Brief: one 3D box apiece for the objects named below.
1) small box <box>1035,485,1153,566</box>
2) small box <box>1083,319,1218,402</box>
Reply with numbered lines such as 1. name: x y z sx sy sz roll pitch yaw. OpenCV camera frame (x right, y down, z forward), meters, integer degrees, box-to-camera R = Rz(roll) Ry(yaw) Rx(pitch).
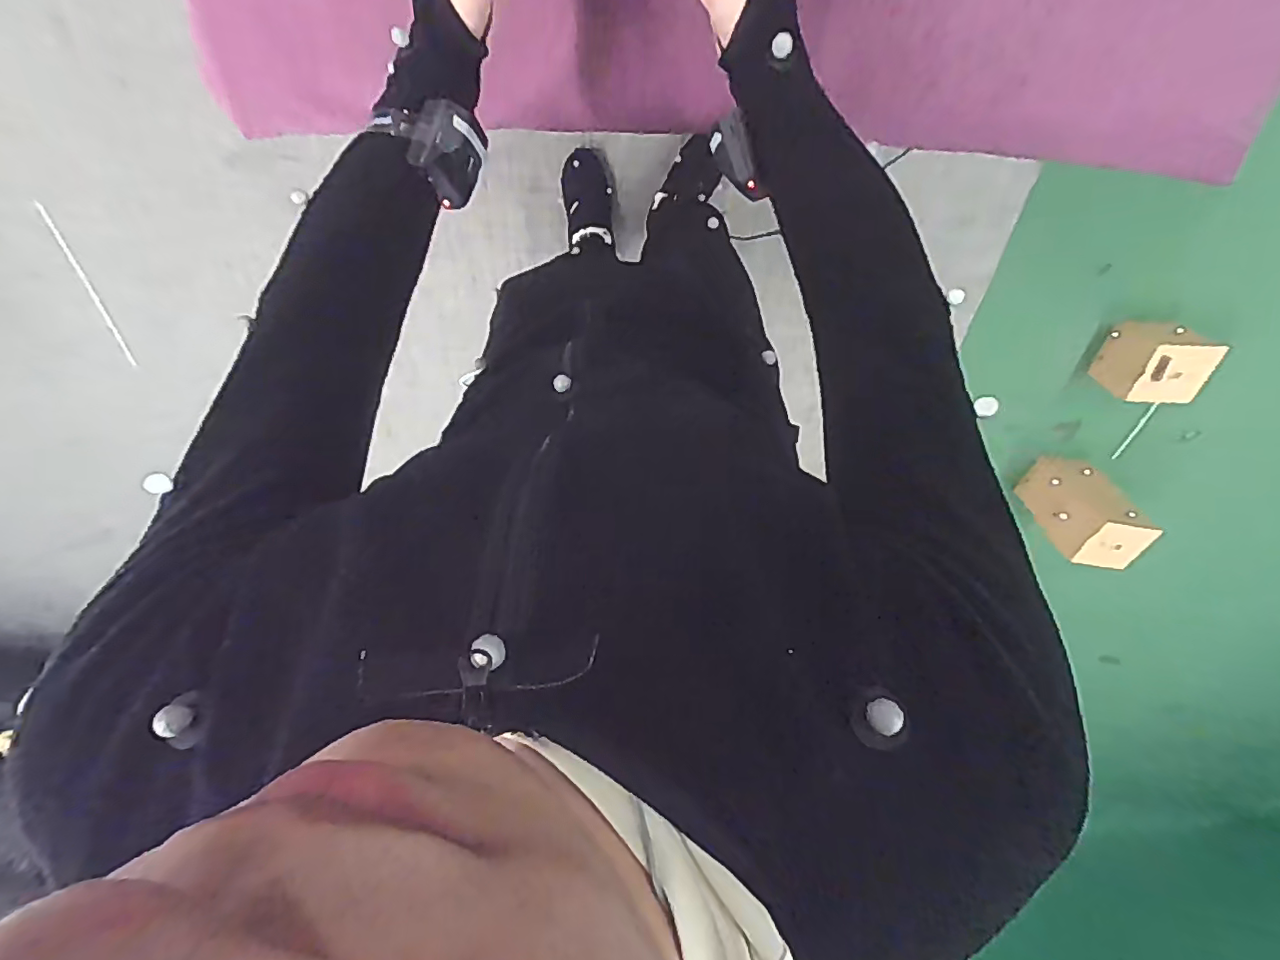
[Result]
1. small box: 1.365 0.134 1.640 0.179 0.176 0.168 9 128 -5
2. small box: 1.379 -0.330 1.480 0.179 0.176 0.168 2 129 0
